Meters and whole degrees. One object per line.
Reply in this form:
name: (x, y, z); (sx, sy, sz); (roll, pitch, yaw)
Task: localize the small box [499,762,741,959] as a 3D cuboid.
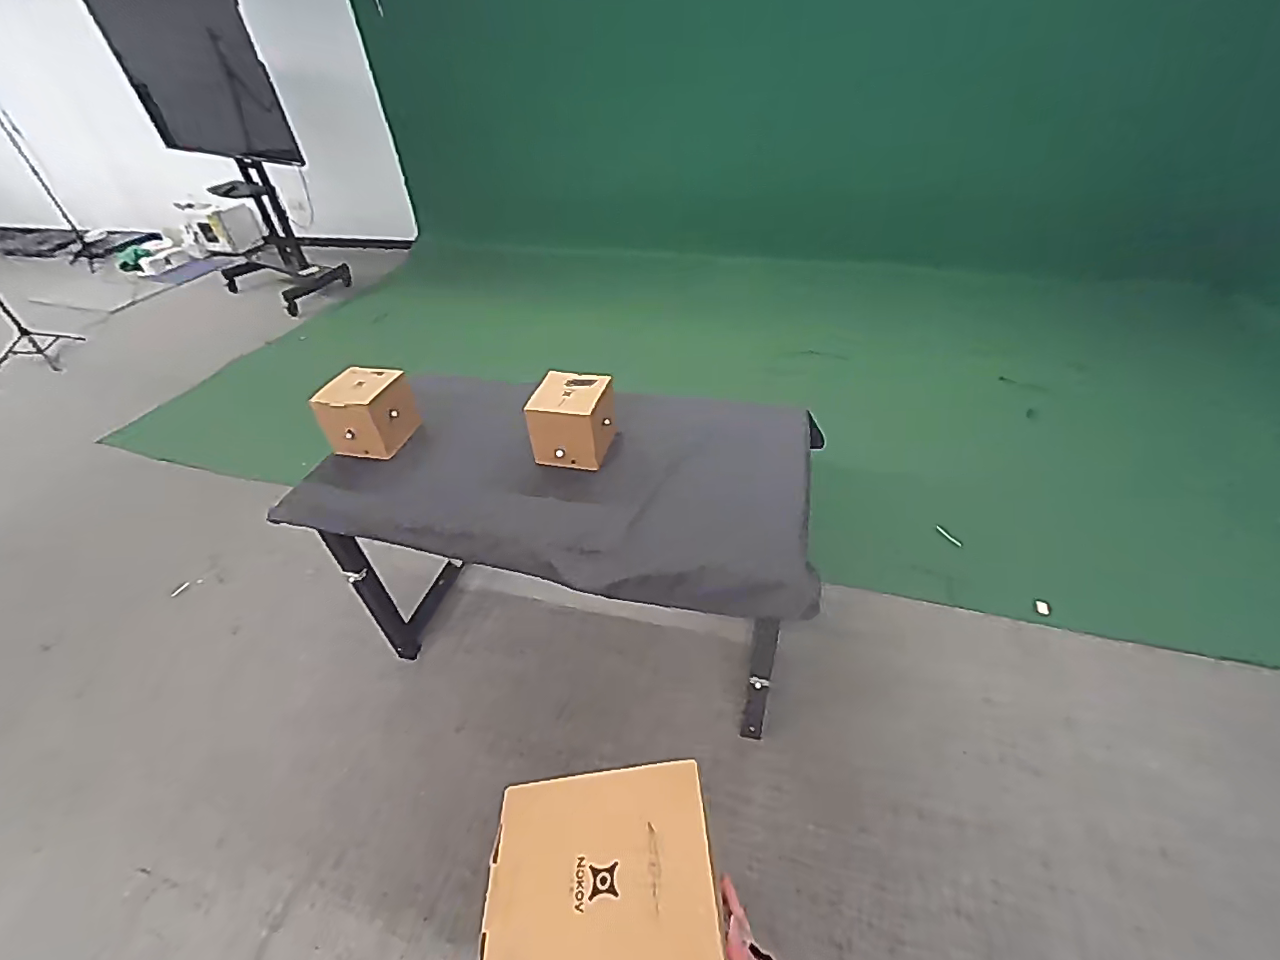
small box: (-0.009, 0.378, 0.468); (0.179, 0.176, 0.168); (-9, 36, 2)

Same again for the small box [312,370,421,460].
small box: (-0.710, -0.170, 1.432); (0.168, 0.176, 0.179); (7, 42, 11)

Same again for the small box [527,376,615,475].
small box: (-0.164, -0.138, 1.357); (0.168, 0.176, 0.179); (8, 43, 13)
